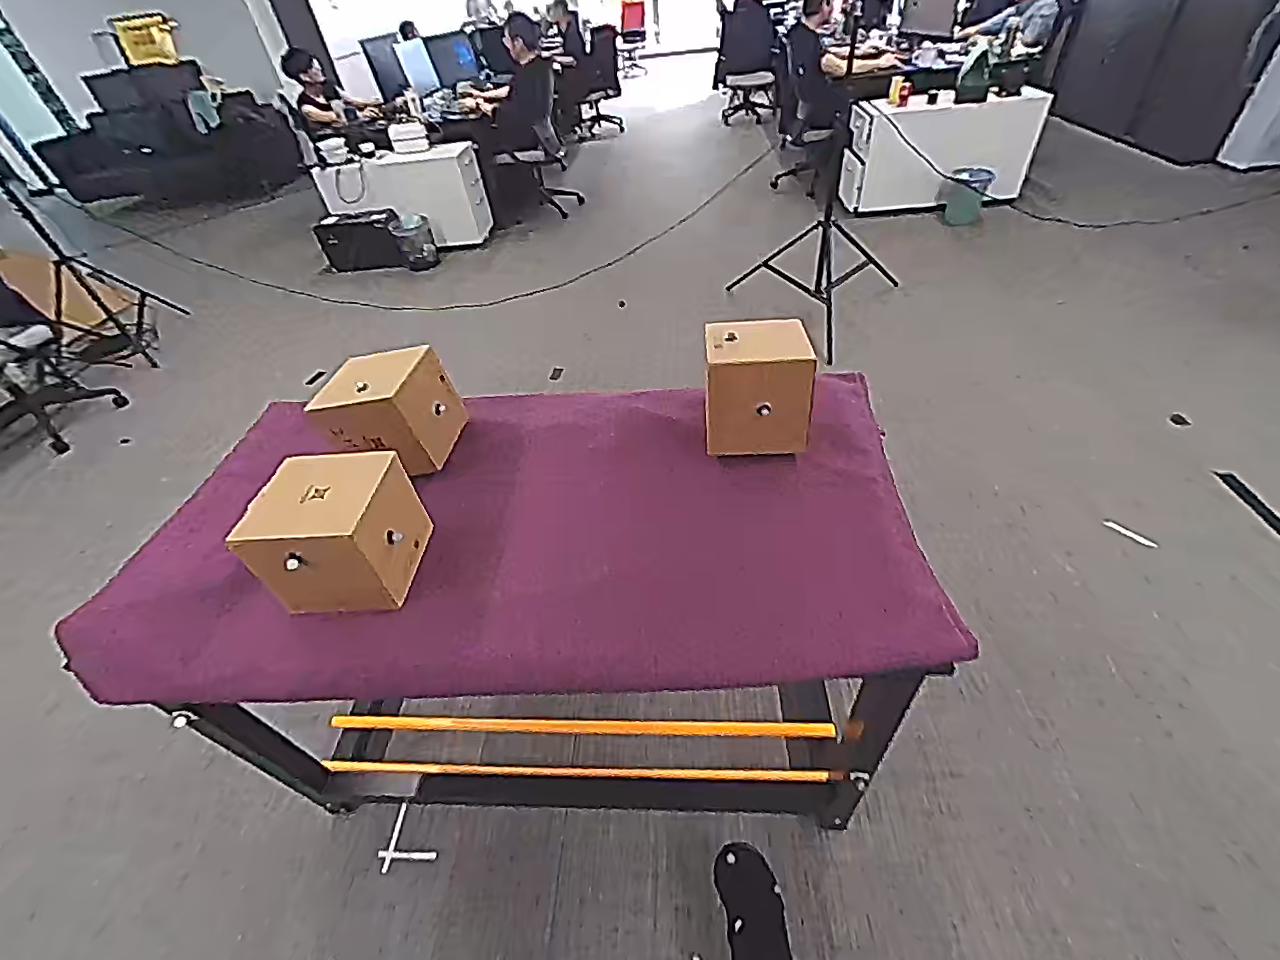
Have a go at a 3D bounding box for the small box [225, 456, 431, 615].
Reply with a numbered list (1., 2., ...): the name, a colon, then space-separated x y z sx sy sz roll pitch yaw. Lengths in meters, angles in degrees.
1. small box: -0.434 0.083 0.793 0.179 0.176 0.168 -3 43 5

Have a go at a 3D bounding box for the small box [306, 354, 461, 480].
1. small box: -0.448 -0.113 0.986 0.179 0.168 0.176 -6 41 13
